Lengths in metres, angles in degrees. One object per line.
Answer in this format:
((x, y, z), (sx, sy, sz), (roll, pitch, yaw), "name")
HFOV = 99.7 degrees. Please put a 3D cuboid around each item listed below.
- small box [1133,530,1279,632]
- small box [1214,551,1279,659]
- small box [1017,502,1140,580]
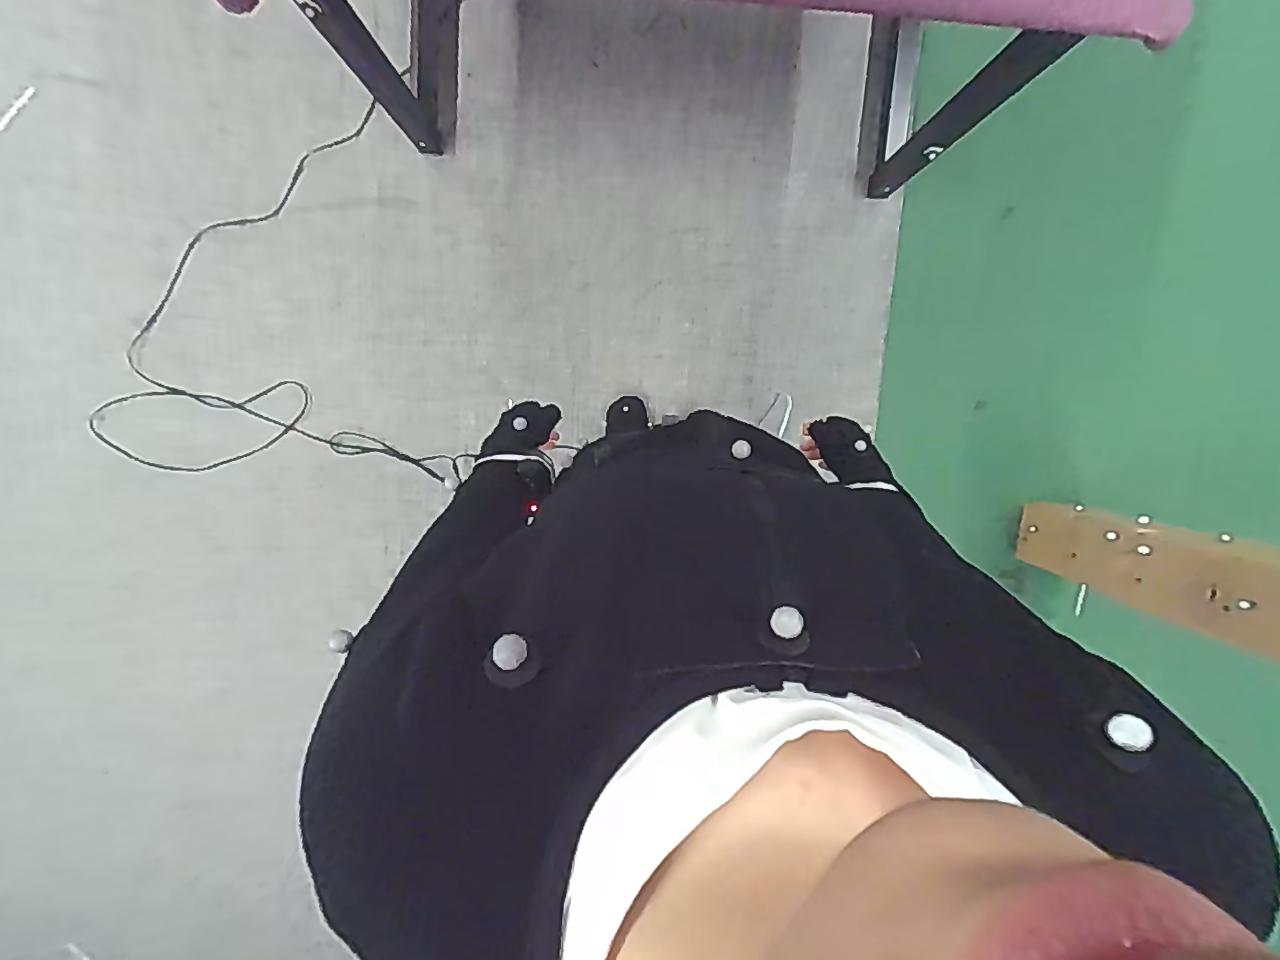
((1.175, 0.202, 1.112), (0.179, 0.176, 0.168), (-1, 99, -2), "small box")
((1.189, 0.223, 0.949), (0.179, 0.176, 0.168), (-2, 98, -1), "small box")
((1.156, 0.157, 1.438), (0.179, 0.176, 0.168), (4, 98, -1), "small box")
